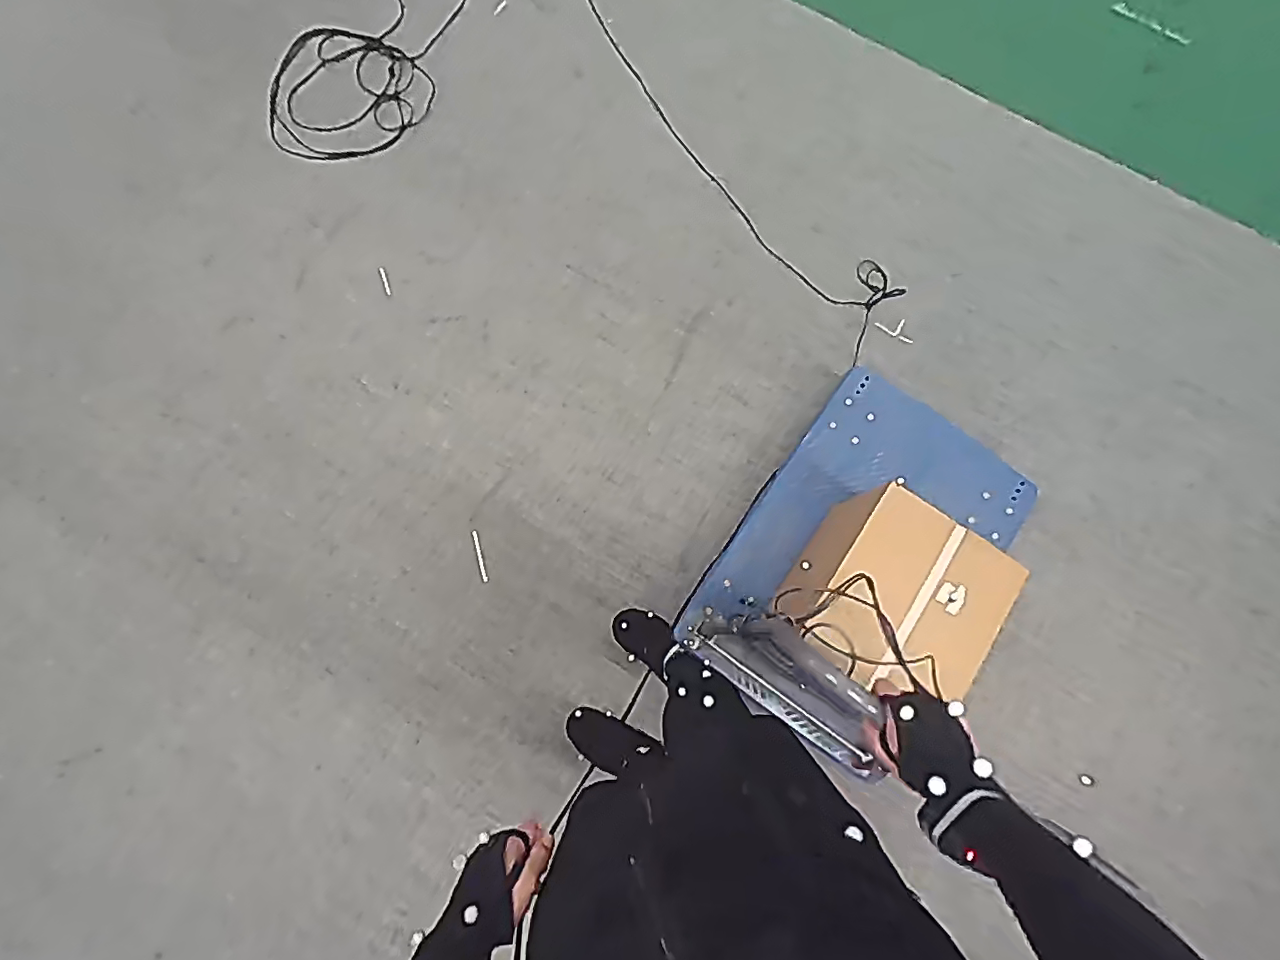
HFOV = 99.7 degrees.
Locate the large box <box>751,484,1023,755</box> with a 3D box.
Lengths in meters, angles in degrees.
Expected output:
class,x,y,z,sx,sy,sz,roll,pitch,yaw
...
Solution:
class,x,y,z,sx,sy,sz,roll,pitch,yaw
large box,0.495,0.283,1.152,0.320,0.320,0.408,35,77,5
